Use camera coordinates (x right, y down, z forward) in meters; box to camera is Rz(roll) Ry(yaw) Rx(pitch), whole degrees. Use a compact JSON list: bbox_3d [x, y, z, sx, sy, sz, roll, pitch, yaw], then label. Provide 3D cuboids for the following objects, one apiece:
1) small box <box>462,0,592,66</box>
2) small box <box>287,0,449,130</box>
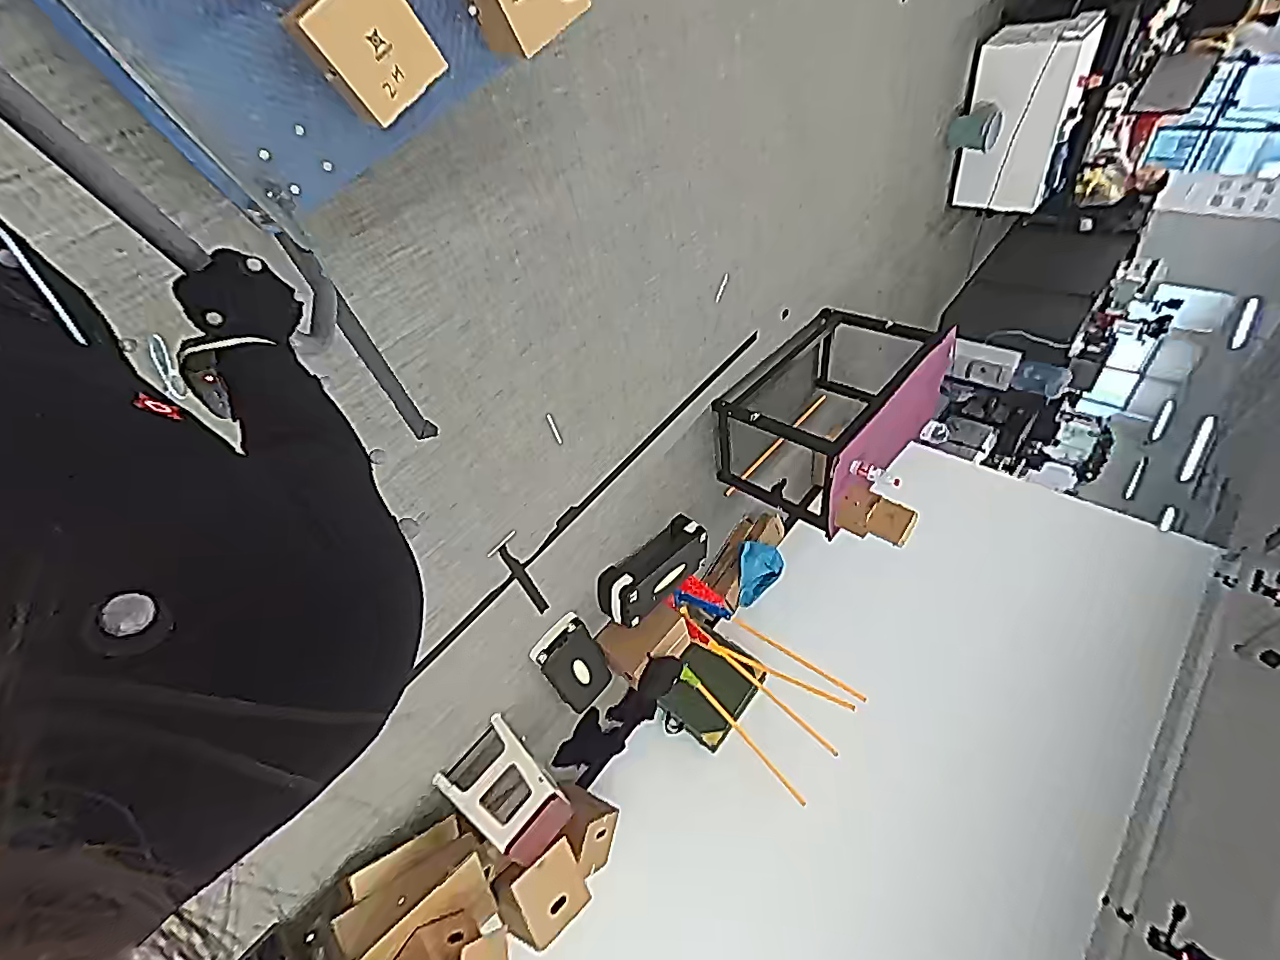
[{"bbox_3d":[-0.231,-0.943,1.039,0.179,0.176,0.168,-43,142,-5],"label":"small box"},{"bbox_3d":[-0.482,-0.761,0.955,0.168,0.176,0.179,-45,142,-3],"label":"small box"}]
